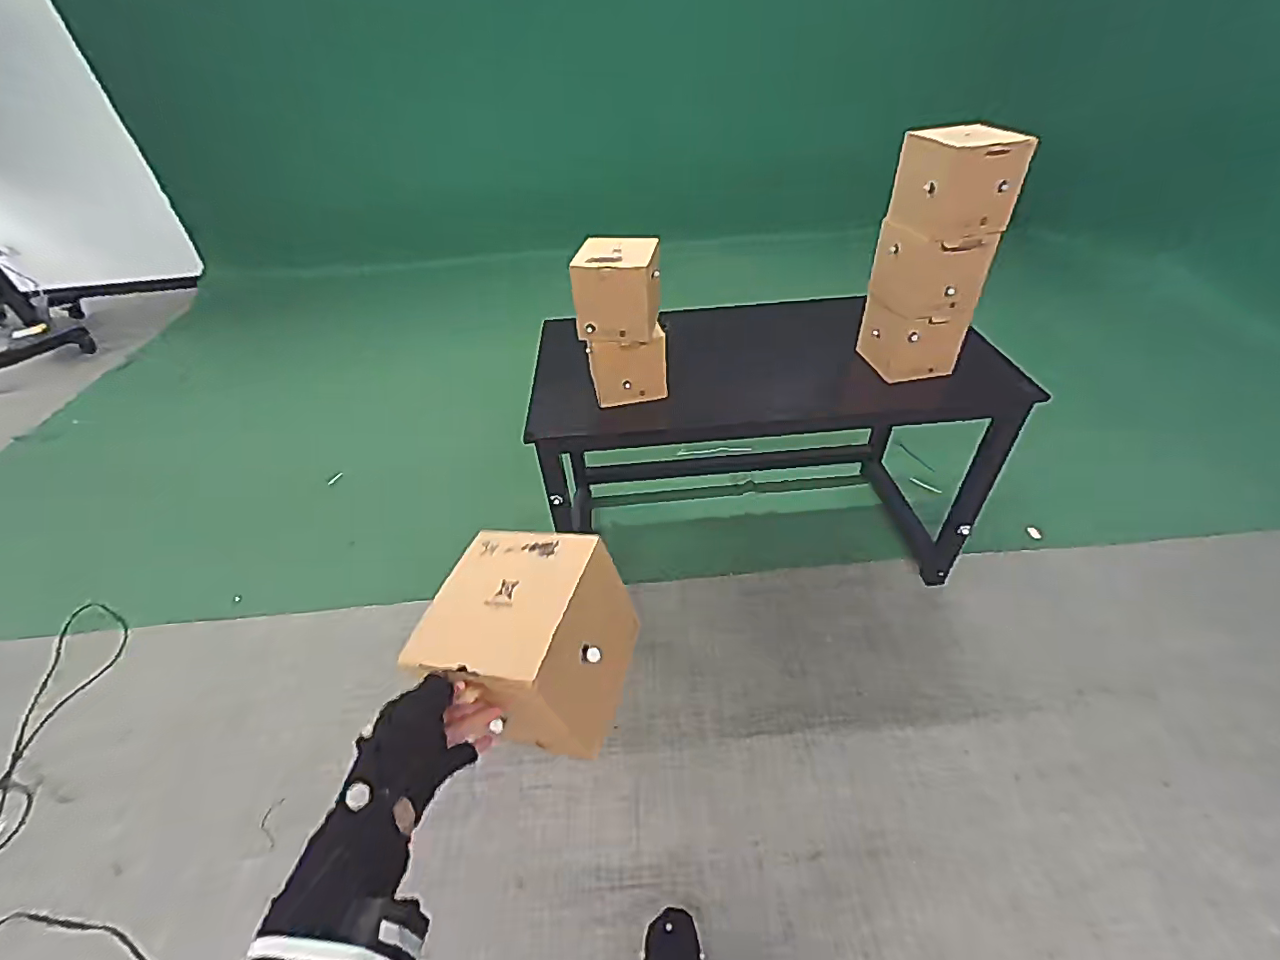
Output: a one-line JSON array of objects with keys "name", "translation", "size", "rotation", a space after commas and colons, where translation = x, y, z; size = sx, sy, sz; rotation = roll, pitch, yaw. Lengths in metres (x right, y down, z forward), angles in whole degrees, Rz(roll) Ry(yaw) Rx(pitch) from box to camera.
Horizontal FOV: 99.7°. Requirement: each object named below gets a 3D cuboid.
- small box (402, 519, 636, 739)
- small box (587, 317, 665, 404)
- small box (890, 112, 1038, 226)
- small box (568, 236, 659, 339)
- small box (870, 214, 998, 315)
[{"name": "small box", "translation": [-0.118, 0.166, 0.613], "size": [0.168, 0.176, 0.179], "rotation": [1, 45, 24]}, {"name": "small box", "translation": [-0.038, -0.308, 1.320], "size": [0.168, 0.176, 0.179], "rotation": [-10, 44, -7]}, {"name": "small box", "translation": [0.638, -0.623, 1.091], "size": [0.168, 0.176, 0.179], "rotation": [-10, 41, -6]}, {"name": "small box", "translation": [-0.051, -0.430, 1.209], "size": [0.168, 0.176, 0.179], "rotation": [5, 43, 9]}, {"name": "small box", "translation": [0.643, -0.489, 1.211], "size": [0.168, 0.176, 0.179], "rotation": [-10, 42, -5]}]
